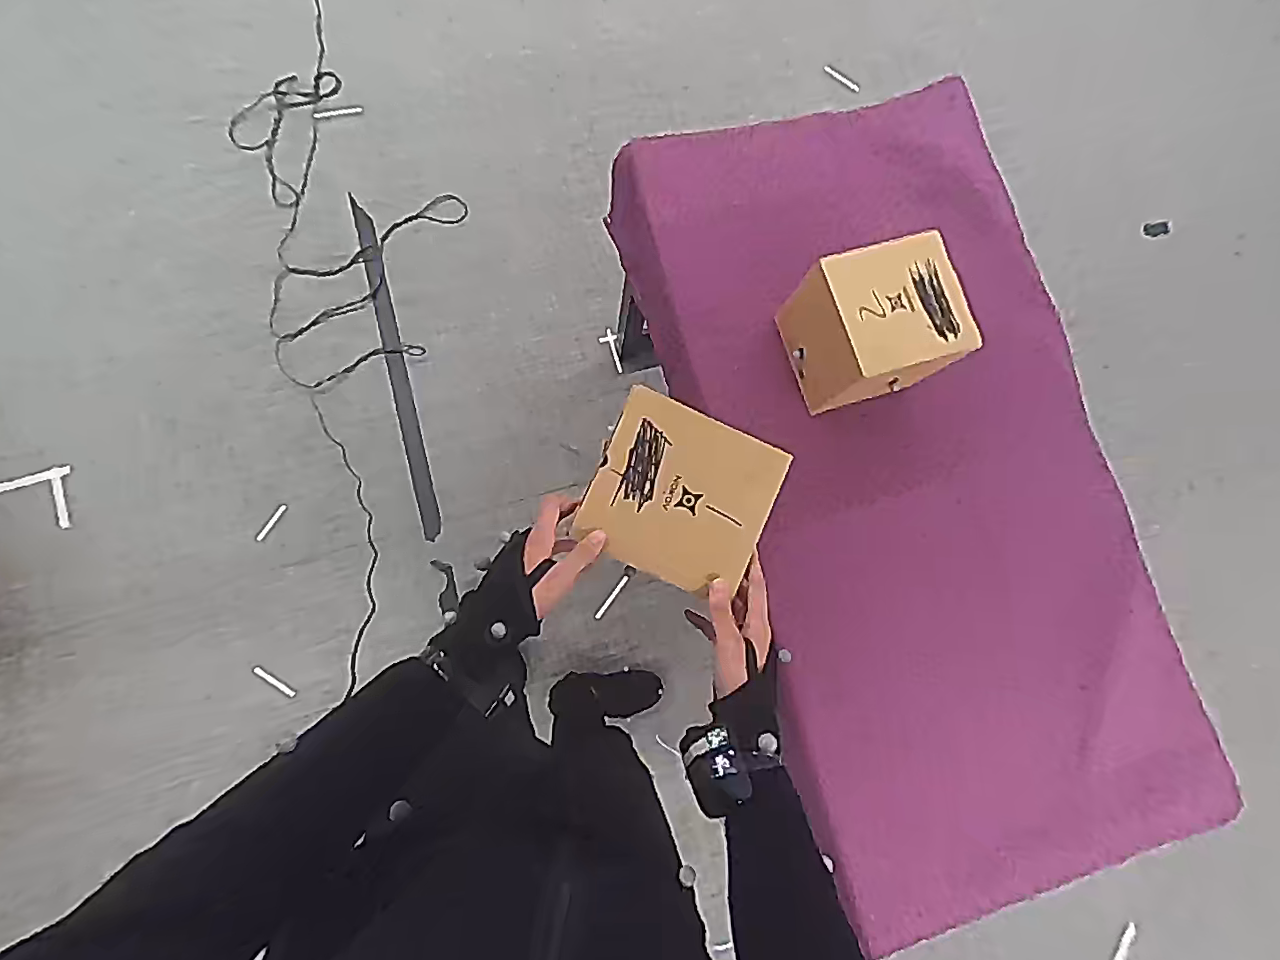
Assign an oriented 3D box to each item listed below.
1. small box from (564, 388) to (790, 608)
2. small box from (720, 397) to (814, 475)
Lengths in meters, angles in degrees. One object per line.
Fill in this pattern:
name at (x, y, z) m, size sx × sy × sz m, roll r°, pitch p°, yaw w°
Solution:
small box at (0.032, 0.023, 0.603) m, size 0.179 × 0.176 × 0.168 m, roll 24°, pitch 85°, yaw -2°
small box at (0.311, -0.089, 1.373) m, size 0.168 × 0.176 × 0.179 m, roll -16°, pitch 83°, yaw -9°
